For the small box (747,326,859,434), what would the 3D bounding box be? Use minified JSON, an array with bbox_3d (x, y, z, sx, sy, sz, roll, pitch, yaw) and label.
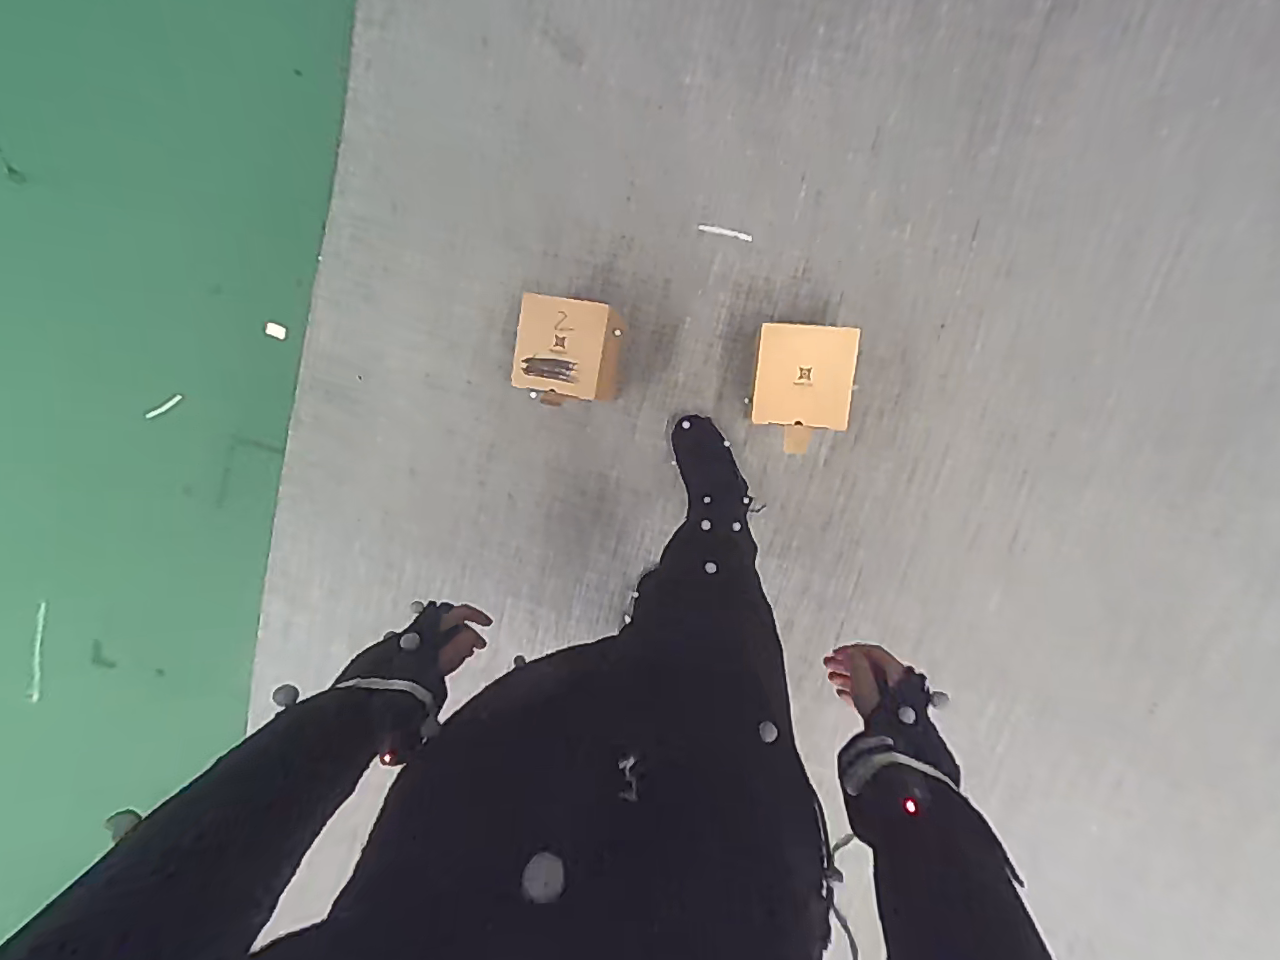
[{"bbox_3d":[0.293,-0.182,1.010,0.168,0.176,0.179,6,98,8],"label":"small box"}]
